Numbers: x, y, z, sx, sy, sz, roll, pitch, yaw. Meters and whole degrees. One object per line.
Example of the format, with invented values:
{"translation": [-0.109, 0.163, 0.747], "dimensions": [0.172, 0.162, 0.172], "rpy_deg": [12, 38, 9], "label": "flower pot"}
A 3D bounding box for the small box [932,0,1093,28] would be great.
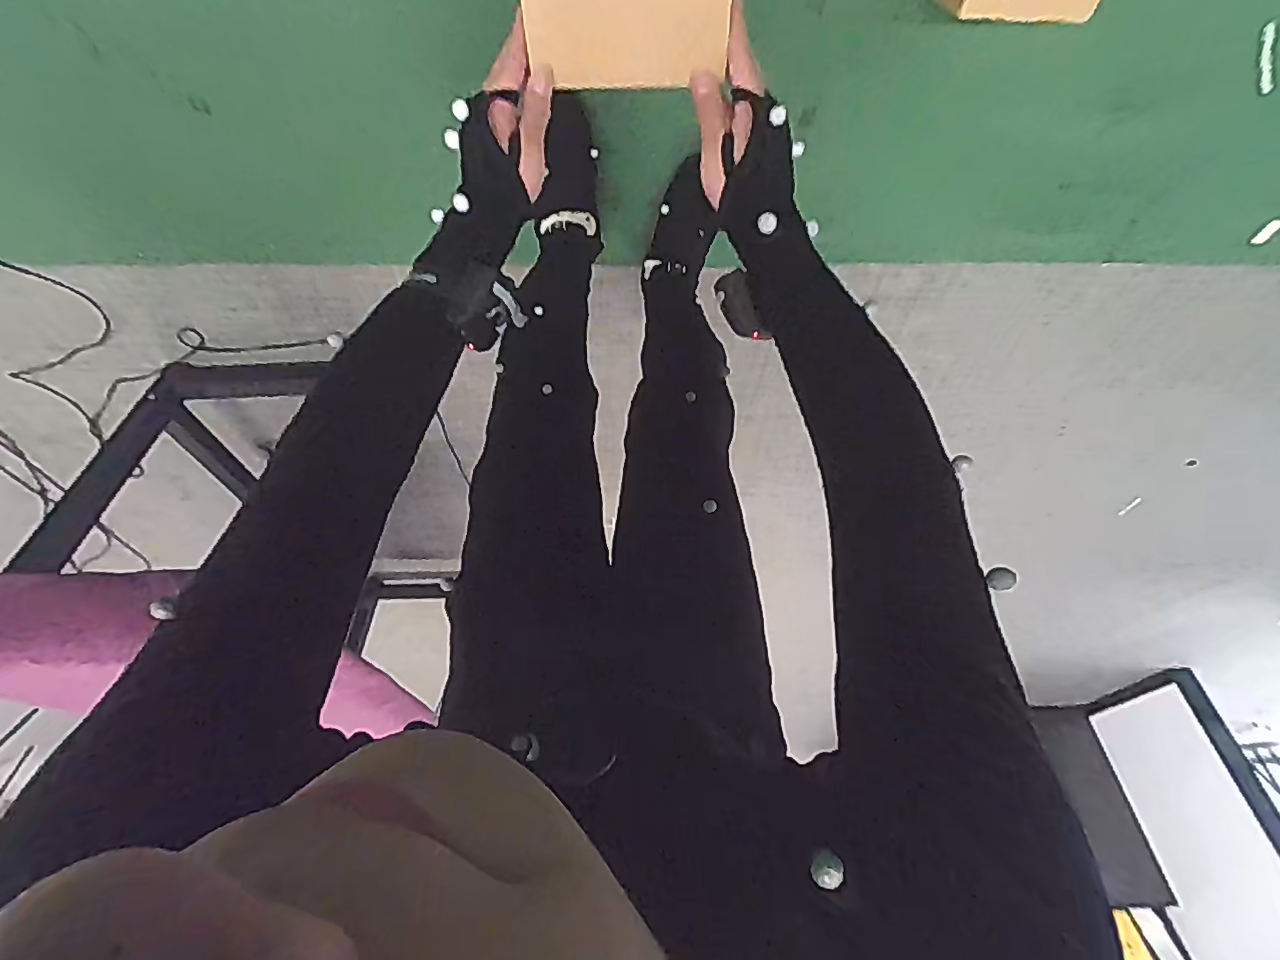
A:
{"translation": [0.472, -0.687, 0.659], "dimensions": [0.168, 0.176, 0.179], "rpy_deg": [1, 142, -3], "label": "small box"}

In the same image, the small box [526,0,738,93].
{"translation": [-0.003, -0.443, 0.442], "dimensions": [0.168, 0.176, 0.179], "rpy_deg": [1, 137, 2], "label": "small box"}
